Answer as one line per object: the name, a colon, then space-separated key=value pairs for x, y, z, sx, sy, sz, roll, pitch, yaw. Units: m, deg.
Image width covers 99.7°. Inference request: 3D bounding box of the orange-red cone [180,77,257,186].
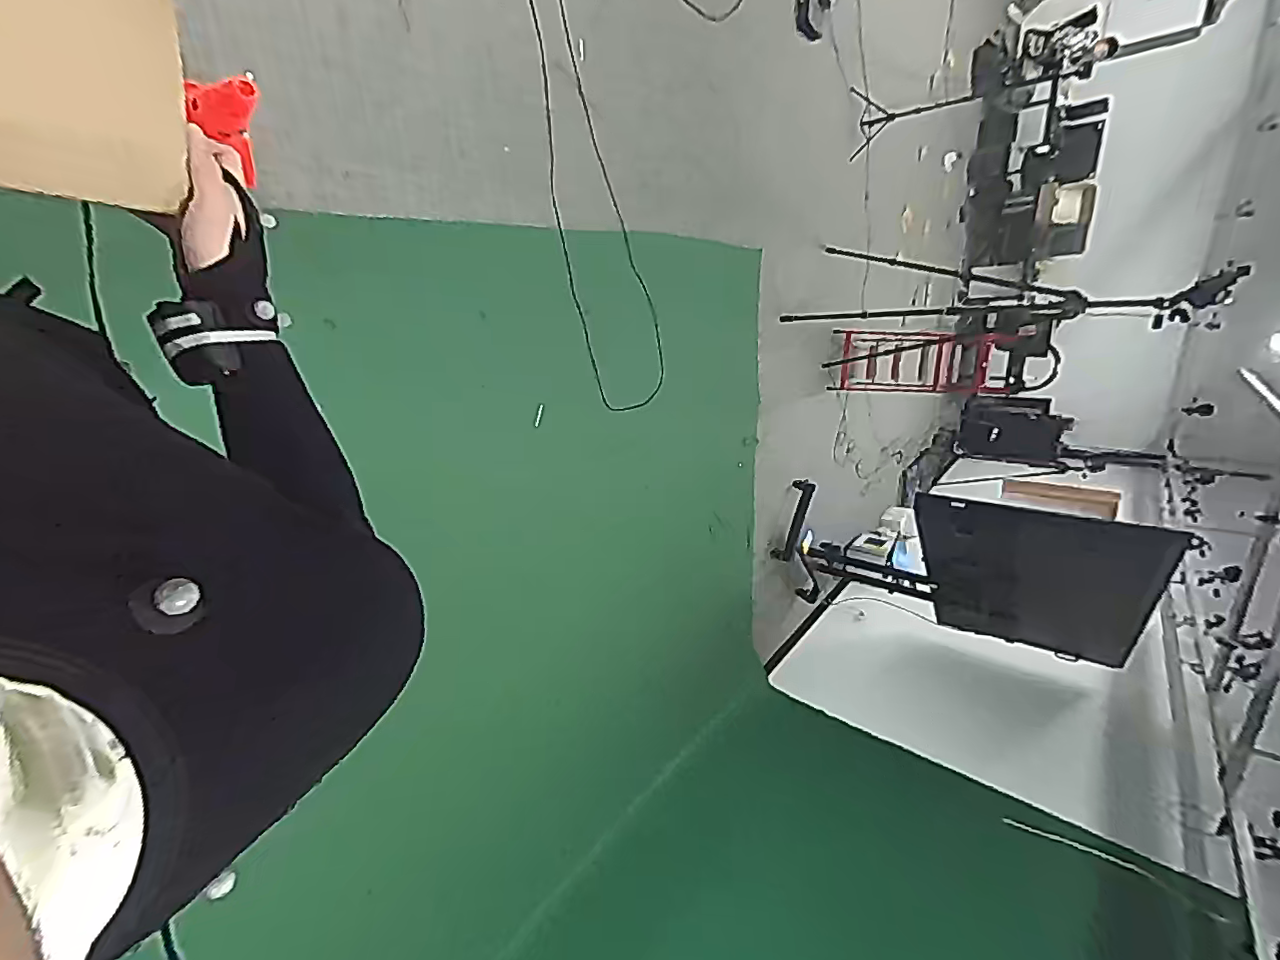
orange-red cone: x=-0.875 y=-0.764 z=1.124 sx=0.199 sy=0.360 sz=0.198 roll=-14 pitch=111 yaw=-50
